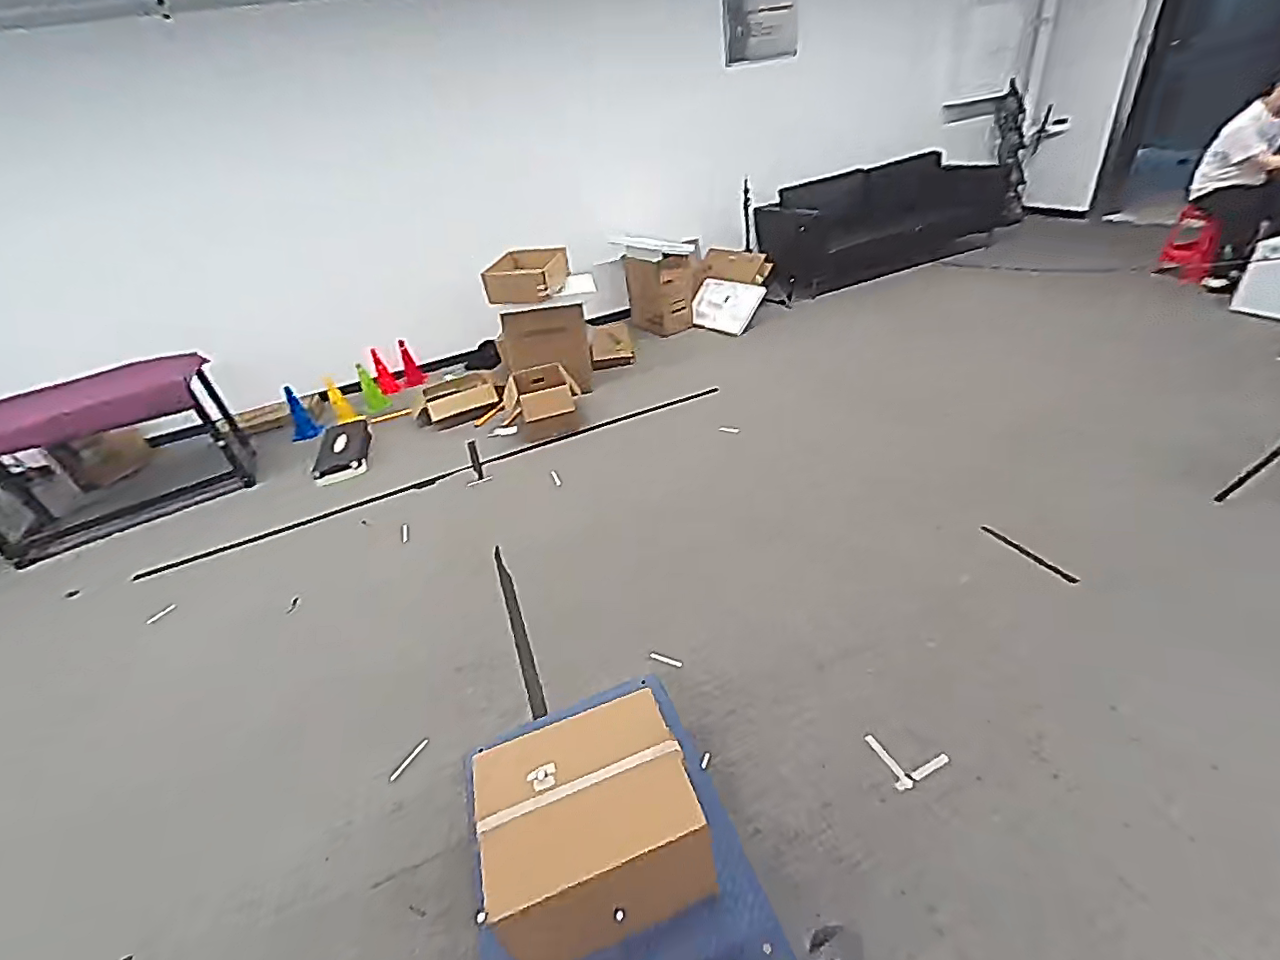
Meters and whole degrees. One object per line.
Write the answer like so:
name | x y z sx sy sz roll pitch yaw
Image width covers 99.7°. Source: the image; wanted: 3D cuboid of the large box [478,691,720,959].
large box | -0.086 0.732 1.145 0.408 0.320 0.320 -19 33 -11
